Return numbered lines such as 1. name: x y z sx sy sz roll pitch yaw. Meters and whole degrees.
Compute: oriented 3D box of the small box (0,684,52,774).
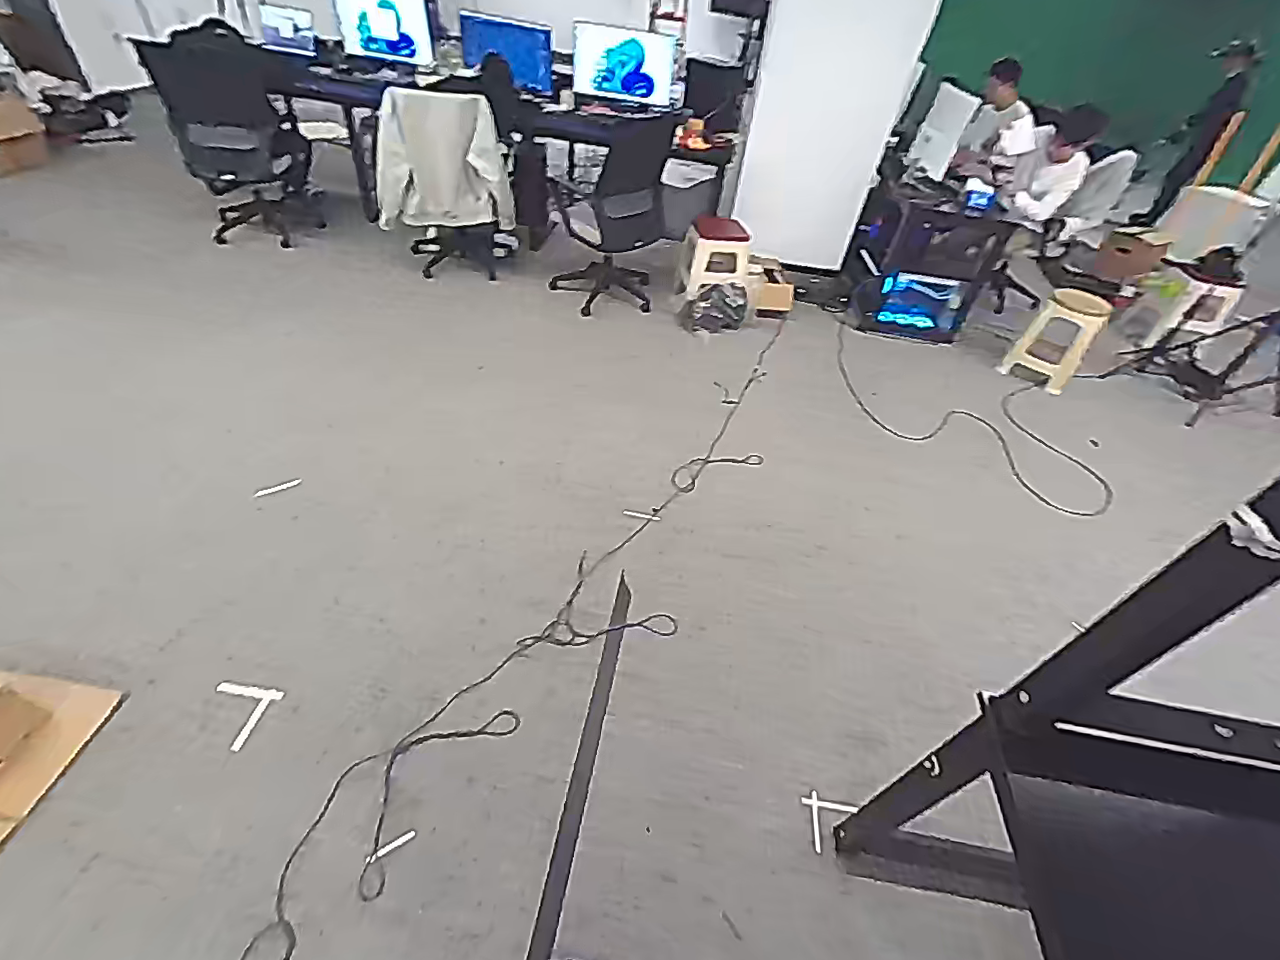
1. small box: -1.530 0.569 1.228 0.179 0.176 0.168 7 44 -1
